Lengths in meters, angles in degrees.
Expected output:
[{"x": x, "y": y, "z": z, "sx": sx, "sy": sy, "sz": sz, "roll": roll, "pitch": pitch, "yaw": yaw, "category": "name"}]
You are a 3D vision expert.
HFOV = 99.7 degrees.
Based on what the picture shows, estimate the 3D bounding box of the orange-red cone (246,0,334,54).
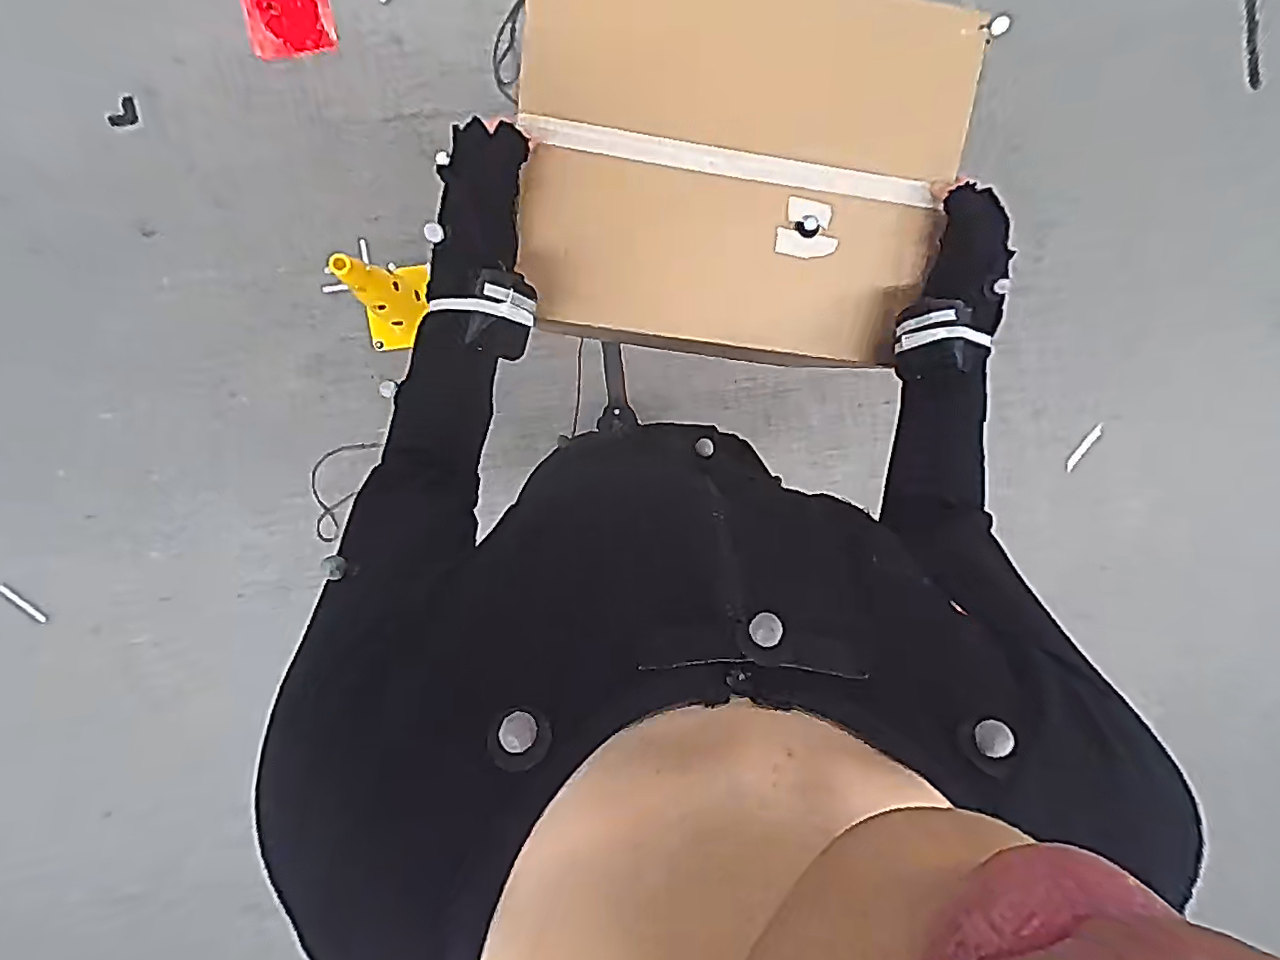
[{"x": -0.850, "y": -1.137, "z": 1.151, "sx": 0.198, "sy": 0.360, "sz": 0.199, "roll": -10, "pitch": 97, "yaw": -2, "category": "orange-red cone"}]

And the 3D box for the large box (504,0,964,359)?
[{"x": 0.068, "y": -0.321, "z": 0.638, "sx": 0.408, "sy": 0.320, "sz": 0.320, "roll": 5, "pitch": 102, "yaw": -7, "category": "large box"}]
